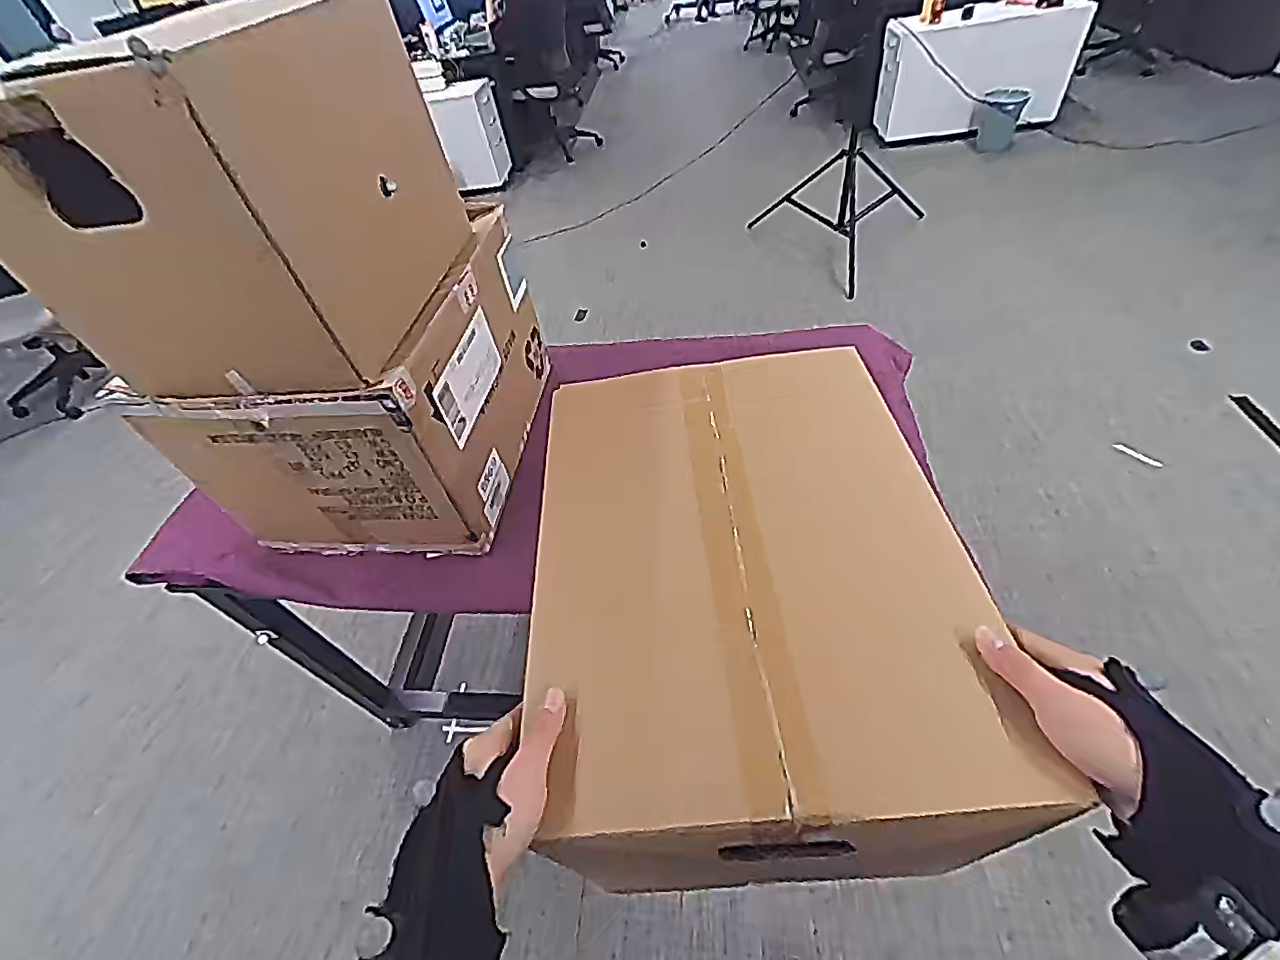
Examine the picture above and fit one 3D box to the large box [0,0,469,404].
[{"bbox_3d":[-0.453,-0.346,0.666,0.320,0.320,0.408,-3,48,9],"label":"large box"}]
